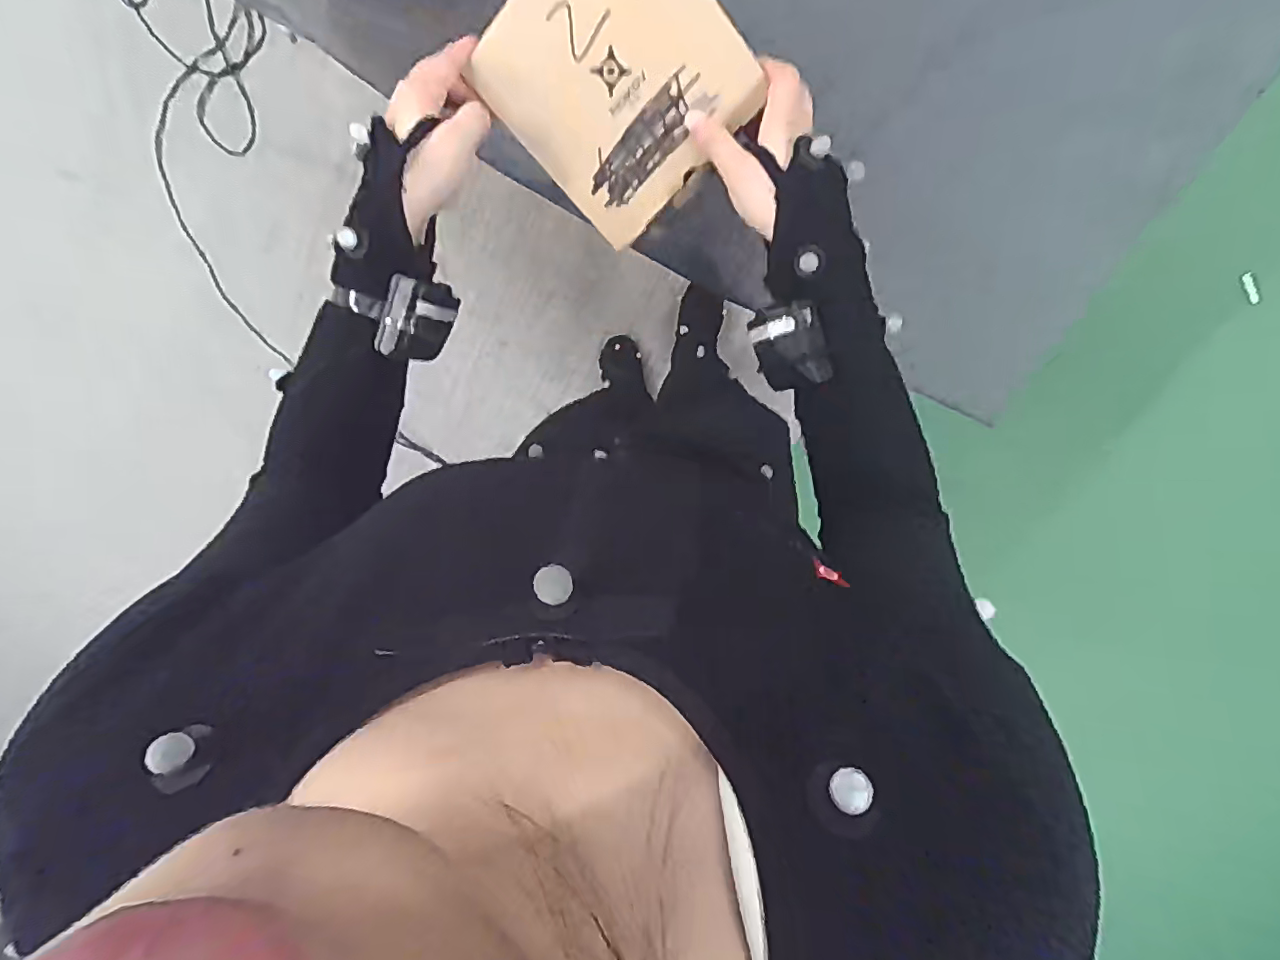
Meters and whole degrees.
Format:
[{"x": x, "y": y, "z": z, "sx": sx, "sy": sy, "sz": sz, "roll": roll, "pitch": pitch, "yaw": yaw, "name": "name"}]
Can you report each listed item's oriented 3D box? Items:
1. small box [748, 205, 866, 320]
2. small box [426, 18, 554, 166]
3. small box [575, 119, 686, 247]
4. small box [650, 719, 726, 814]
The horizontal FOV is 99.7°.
[{"x": 0.362, "y": -0.480, "z": 1.213, "sx": 0.179, "sy": 0.176, "sz": 0.168, "roll": 33, "pitch": 109, "yaw": -8, "name": "small box"}, {"x": -0.312, "y": -0.811, "z": 1.157, "sx": 0.179, "sy": 0.176, "sz": 0.168, "roll": 40, "pitch": 108, "yaw": -8, "name": "small box"}, {"x": -0.012, "y": -0.638, "z": 1.191, "sx": 0.168, "sy": 0.176, "sz": 0.179, "roll": -40, "pitch": 100, "yaw": 15, "name": "small box"}, {"x": 0.150, "y": 0.900, "z": 1.712, "sx": 0.179, "sy": 0.176, "sz": 0.168, "roll": -40, "pitch": 101, "yaw": 17, "name": "small box"}]
